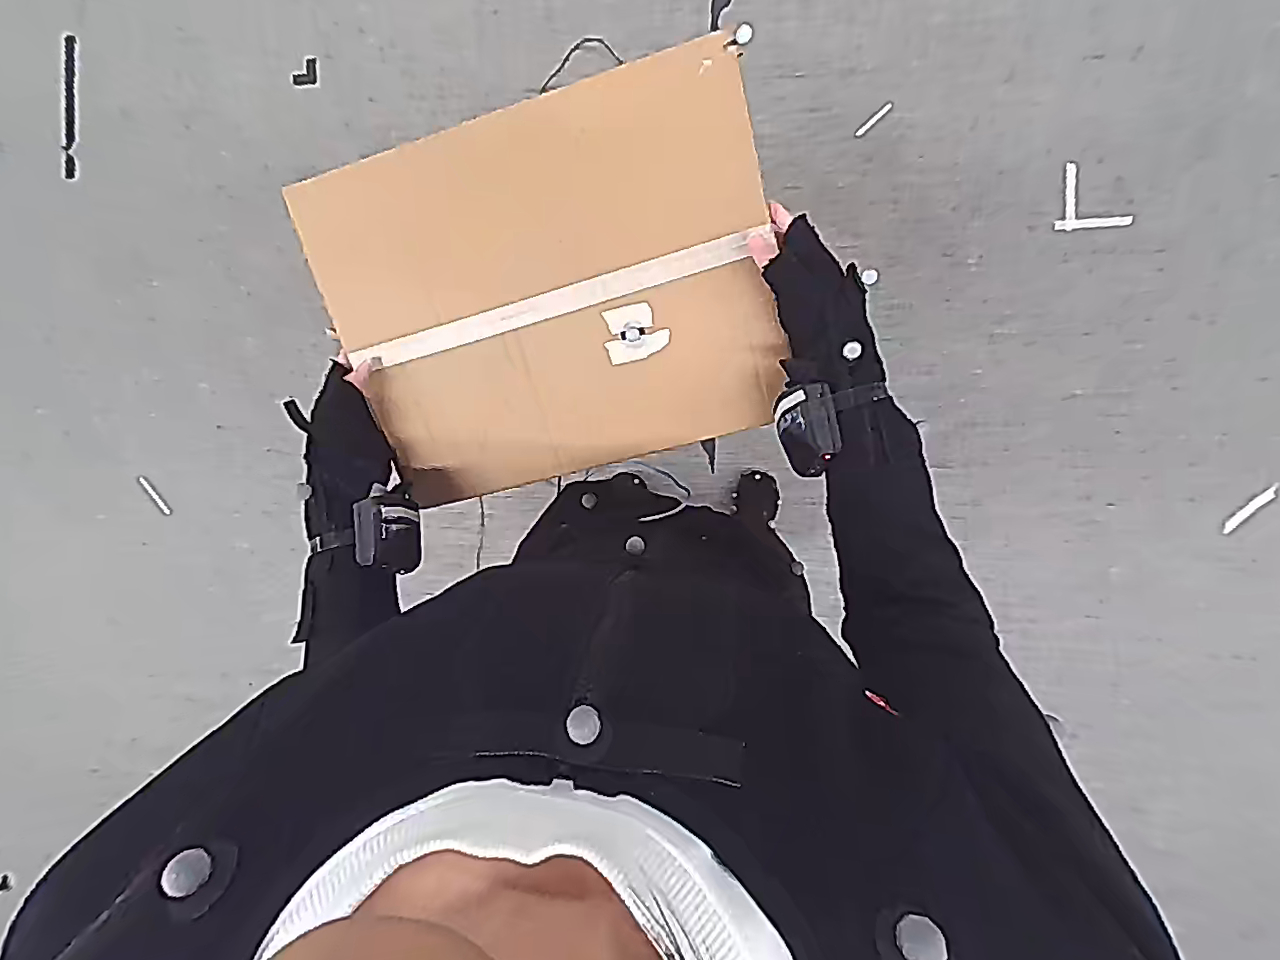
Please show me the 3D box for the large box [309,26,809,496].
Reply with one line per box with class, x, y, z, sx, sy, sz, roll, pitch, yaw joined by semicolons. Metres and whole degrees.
large box;-0.063;-0.213;0.638;0.408;0.320;0.320;-14;106;8
